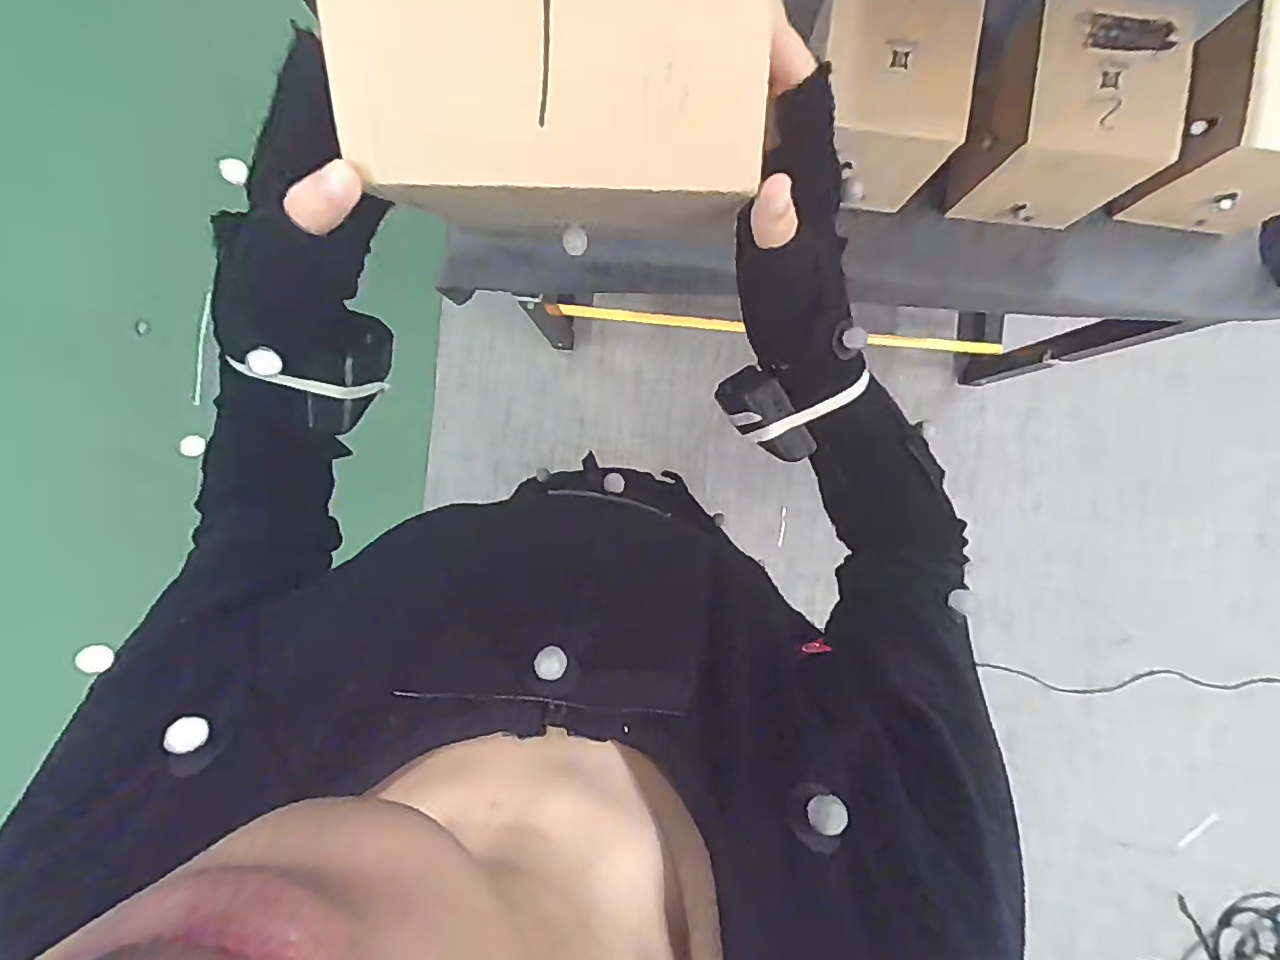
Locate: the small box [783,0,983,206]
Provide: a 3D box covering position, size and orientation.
[{"bbox_3d":[0.283,-0.467,0.668,0.168,0.176,0.179,8,90,1],"label":"small box"}]

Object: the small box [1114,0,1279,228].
[{"bbox_3d":[0.735,-0.434,0.659,0.168,0.176,0.179,9,90,1],"label":"small box"}]
